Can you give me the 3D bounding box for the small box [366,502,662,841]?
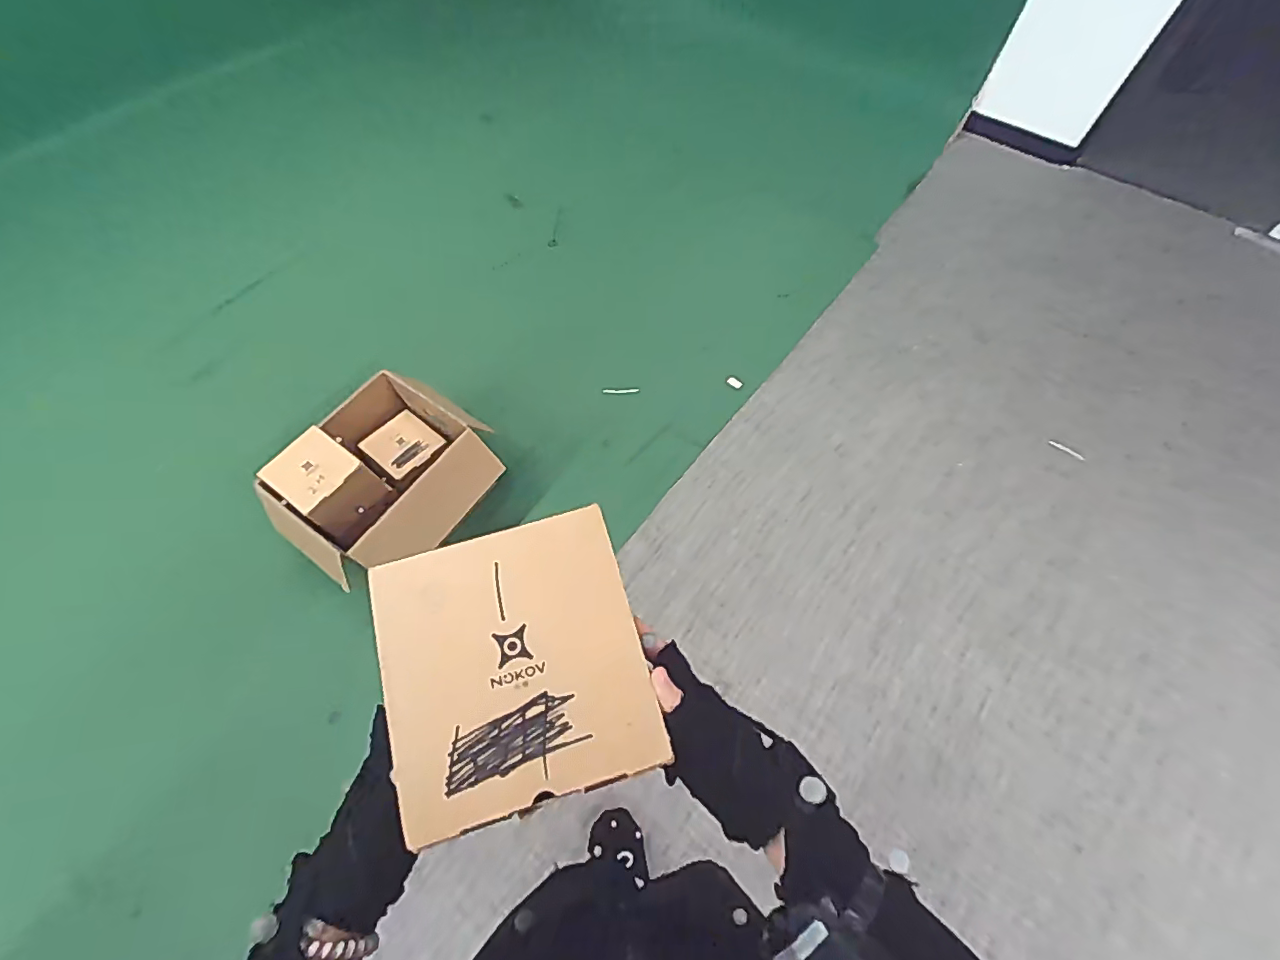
[{"bbox_3d":[-0.087,0.140,0.426,0.168,0.176,0.179,-16,71,-7],"label":"small box"}]
